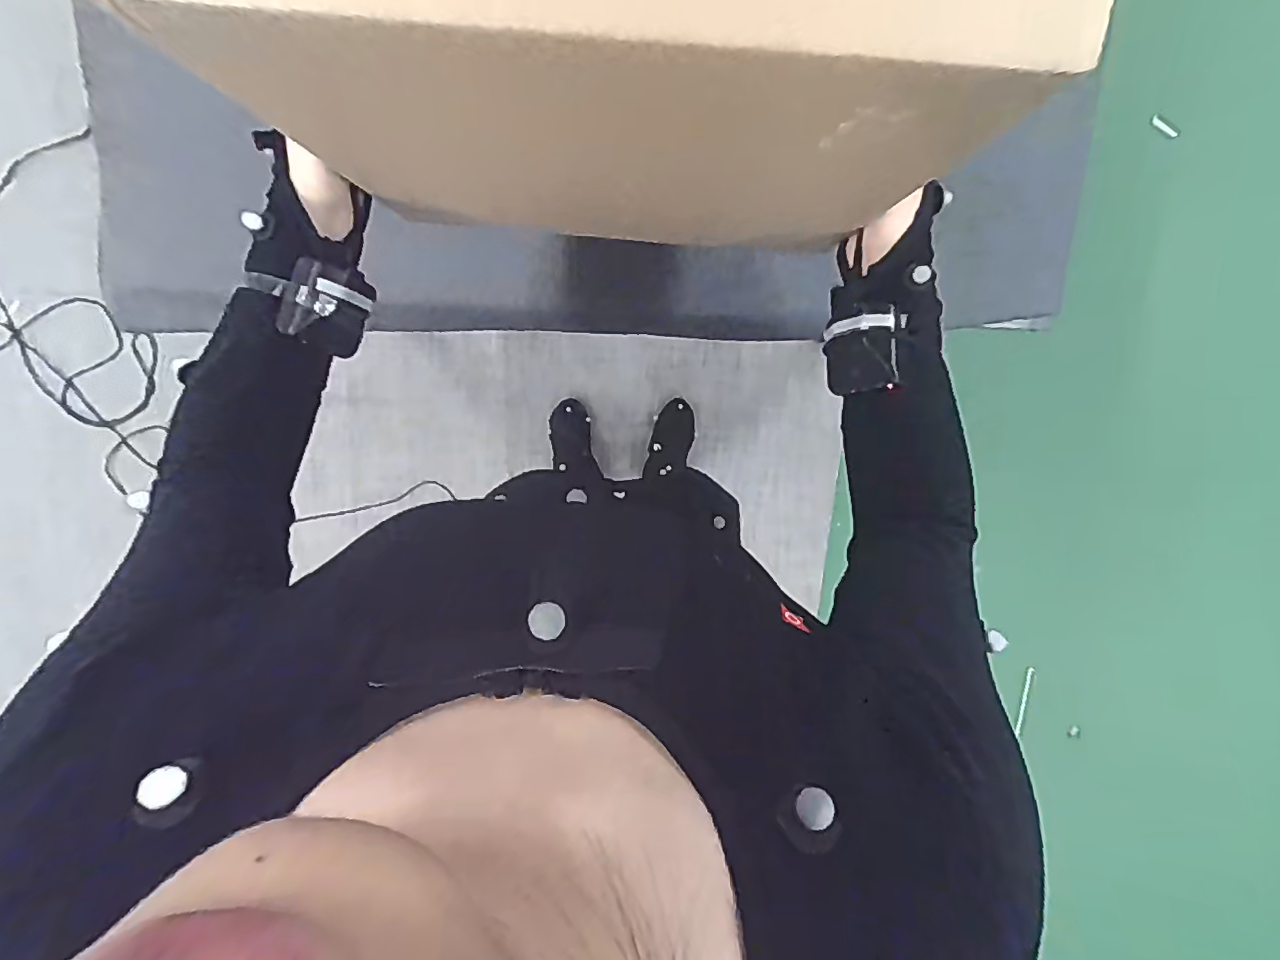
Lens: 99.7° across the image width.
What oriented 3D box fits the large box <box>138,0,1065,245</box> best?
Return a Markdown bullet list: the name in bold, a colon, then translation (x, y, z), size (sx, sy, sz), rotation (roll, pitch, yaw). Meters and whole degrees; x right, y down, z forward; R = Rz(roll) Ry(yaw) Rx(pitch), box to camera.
- **large box**: translation (-0.012, -0.361, 0.355), size (0.408, 0.320, 0.320), rotation (3, 100, -2)
